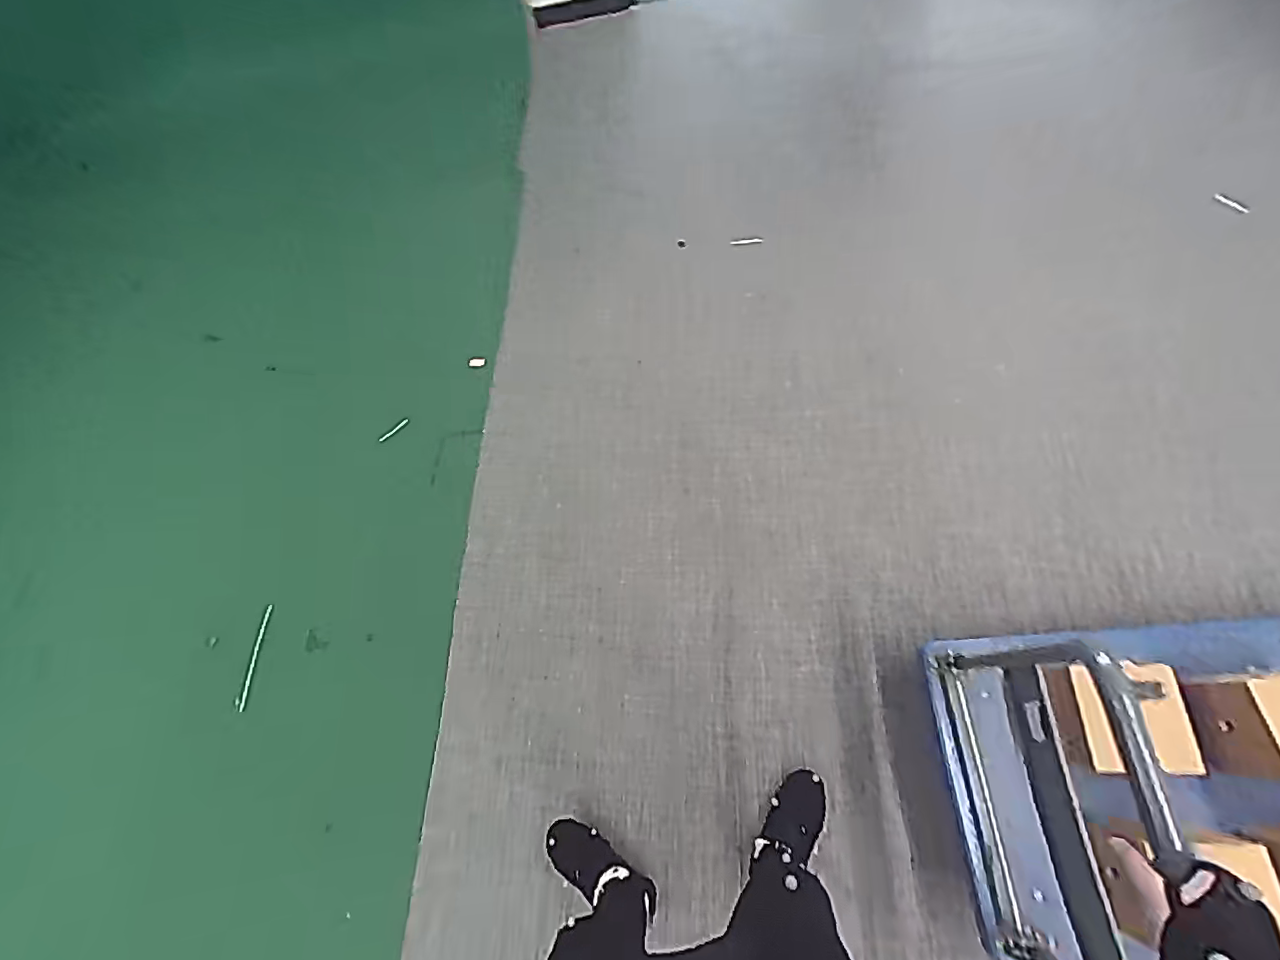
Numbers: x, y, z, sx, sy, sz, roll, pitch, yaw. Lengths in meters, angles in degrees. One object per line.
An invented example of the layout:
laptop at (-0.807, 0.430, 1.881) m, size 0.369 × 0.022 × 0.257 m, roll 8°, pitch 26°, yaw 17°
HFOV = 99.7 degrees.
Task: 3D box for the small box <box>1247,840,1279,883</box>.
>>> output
small box at (1.163, 0.685, 0.859) m, size 0.179 × 0.176 × 0.168 m, roll -8°, pitch 66°, yaw 9°

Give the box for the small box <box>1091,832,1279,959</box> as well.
small box at (0.918, 0.704, 0.904) m, size 0.179 × 0.176 × 0.168 m, roll -5°, pitch 68°, yaw 11°

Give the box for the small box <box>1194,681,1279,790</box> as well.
small box at (1.152, 0.449, 0.955) m, size 0.179 × 0.176 × 0.168 m, roll -10°, pitch 68°, yaw 8°
